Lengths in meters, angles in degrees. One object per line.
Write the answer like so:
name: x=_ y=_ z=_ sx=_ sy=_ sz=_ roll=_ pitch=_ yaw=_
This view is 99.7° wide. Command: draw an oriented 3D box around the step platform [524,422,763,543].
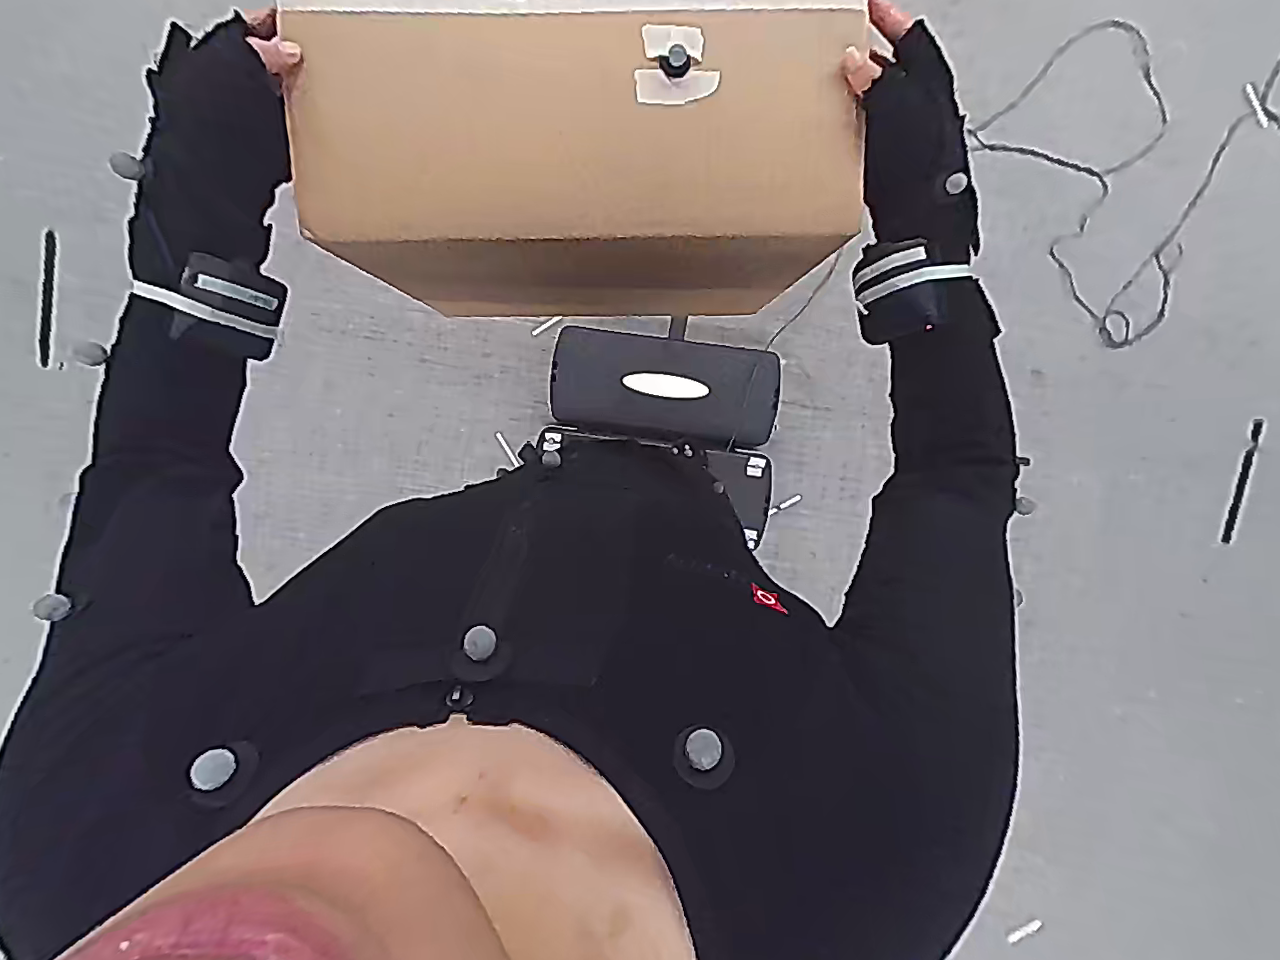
step platform: x=0.010 y=0.007 z=1.579 sx=0.684 sy=0.204 sz=0.286 roll=6 pitch=94 yaw=0

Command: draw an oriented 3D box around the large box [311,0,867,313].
large box: x=-0.040 y=-0.355 z=0.533 sx=0.408 sy=0.320 sz=0.320 roll=-1 pitch=98 yaw=-2
